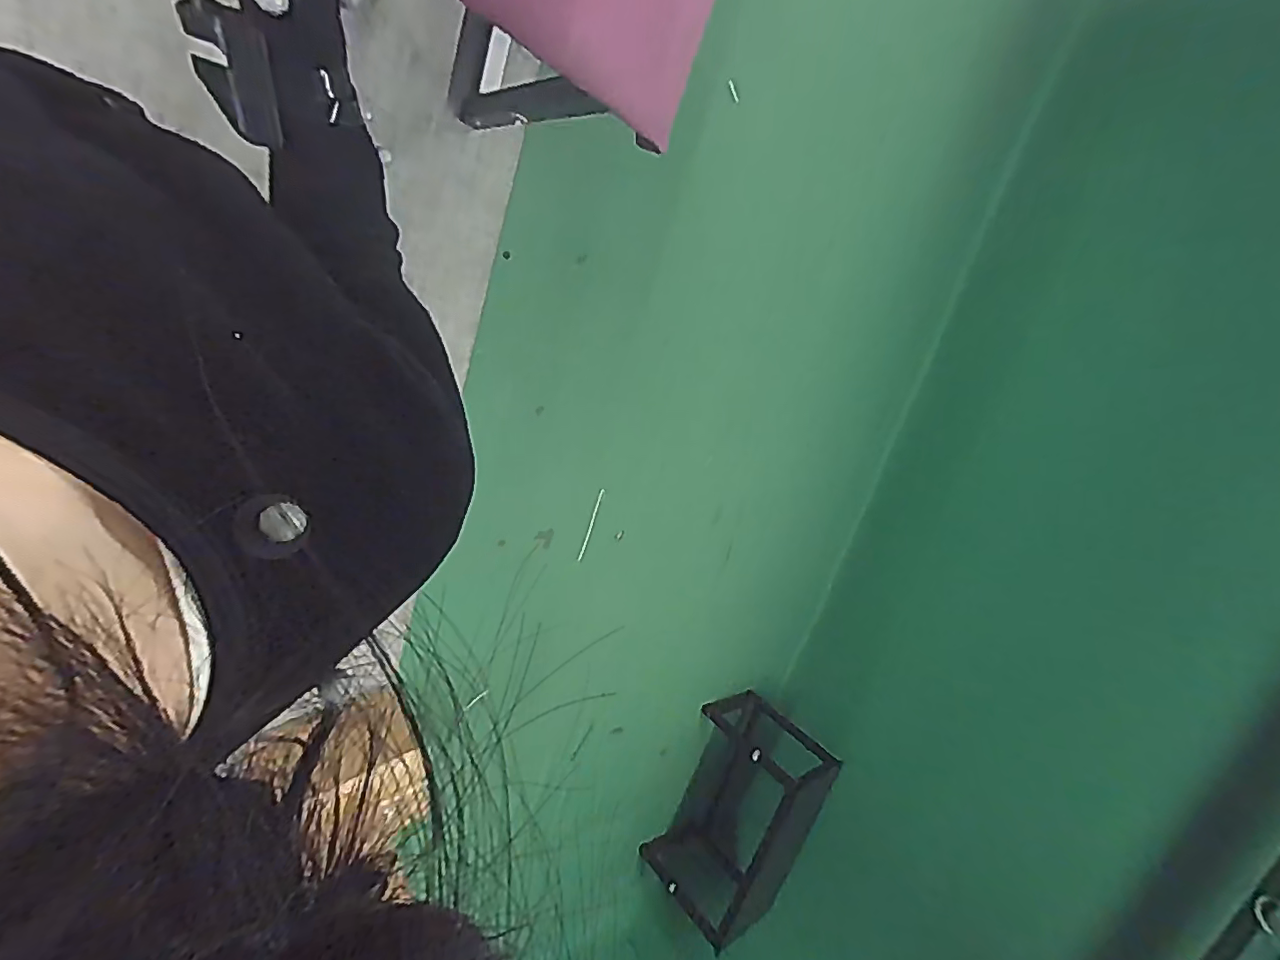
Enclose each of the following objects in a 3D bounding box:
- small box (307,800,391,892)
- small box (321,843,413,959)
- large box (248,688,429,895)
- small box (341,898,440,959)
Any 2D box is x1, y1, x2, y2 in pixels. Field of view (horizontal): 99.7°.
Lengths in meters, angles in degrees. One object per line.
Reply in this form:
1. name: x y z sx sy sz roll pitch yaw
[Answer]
1. small box: -0.786 1.009 1.465 0.168 0.176 0.179 -12 119 -39
2. small box: -0.683 1.072 1.354 0.179 0.176 0.168 -14 120 -39
3. large box: -0.913 0.924 1.661 0.408 0.320 0.320 -14 122 -40
4. small box: -0.576 1.134 1.246 0.179 0.176 0.168 -12 119 -38
